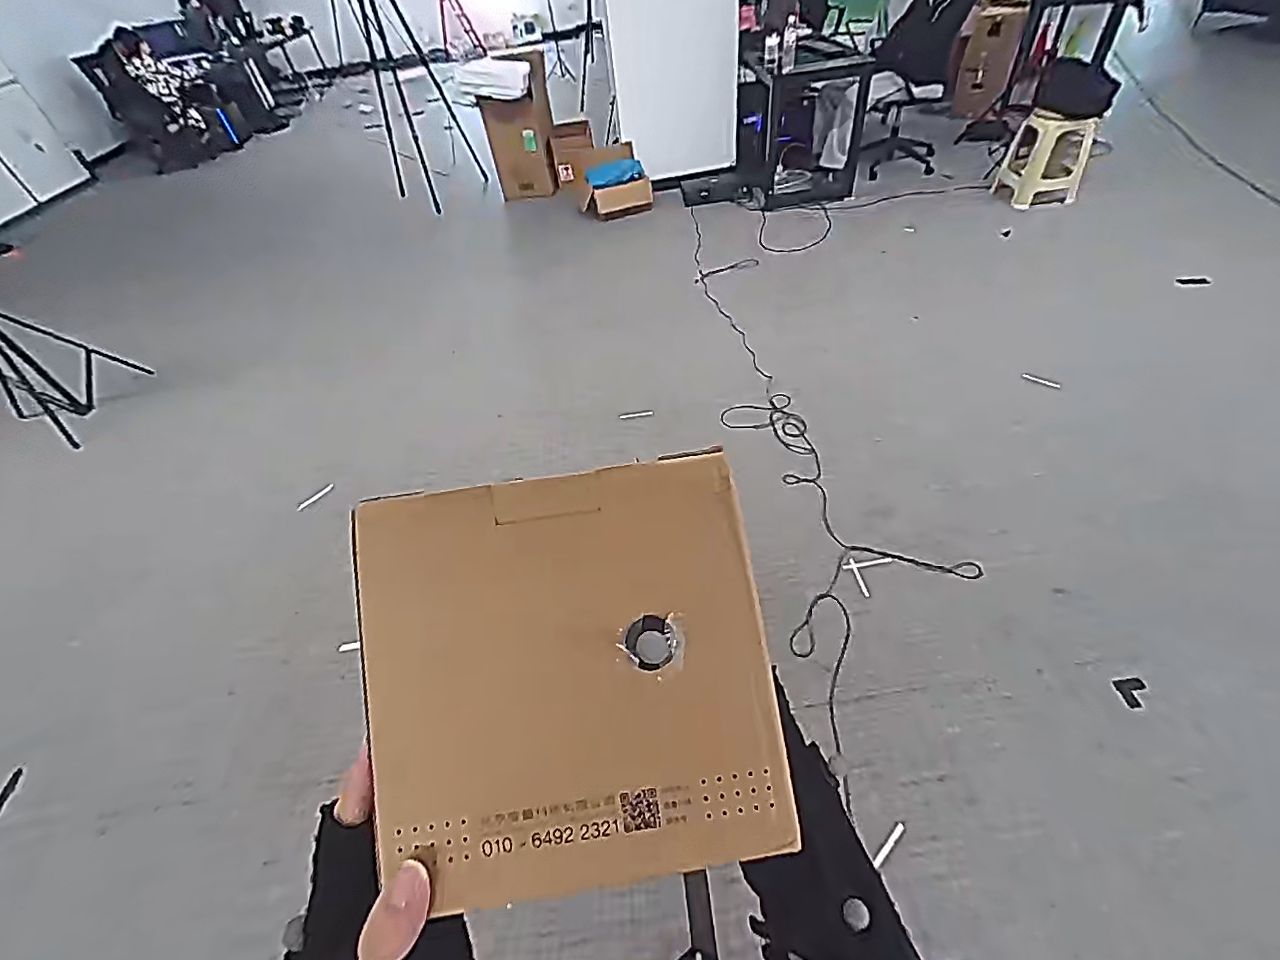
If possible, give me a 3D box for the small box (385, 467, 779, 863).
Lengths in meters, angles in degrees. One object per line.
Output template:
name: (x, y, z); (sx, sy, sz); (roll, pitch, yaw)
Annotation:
small box: (-0.027, 0.098, 0.324); (0.168, 0.179, 0.176); (-8, 82, -2)
